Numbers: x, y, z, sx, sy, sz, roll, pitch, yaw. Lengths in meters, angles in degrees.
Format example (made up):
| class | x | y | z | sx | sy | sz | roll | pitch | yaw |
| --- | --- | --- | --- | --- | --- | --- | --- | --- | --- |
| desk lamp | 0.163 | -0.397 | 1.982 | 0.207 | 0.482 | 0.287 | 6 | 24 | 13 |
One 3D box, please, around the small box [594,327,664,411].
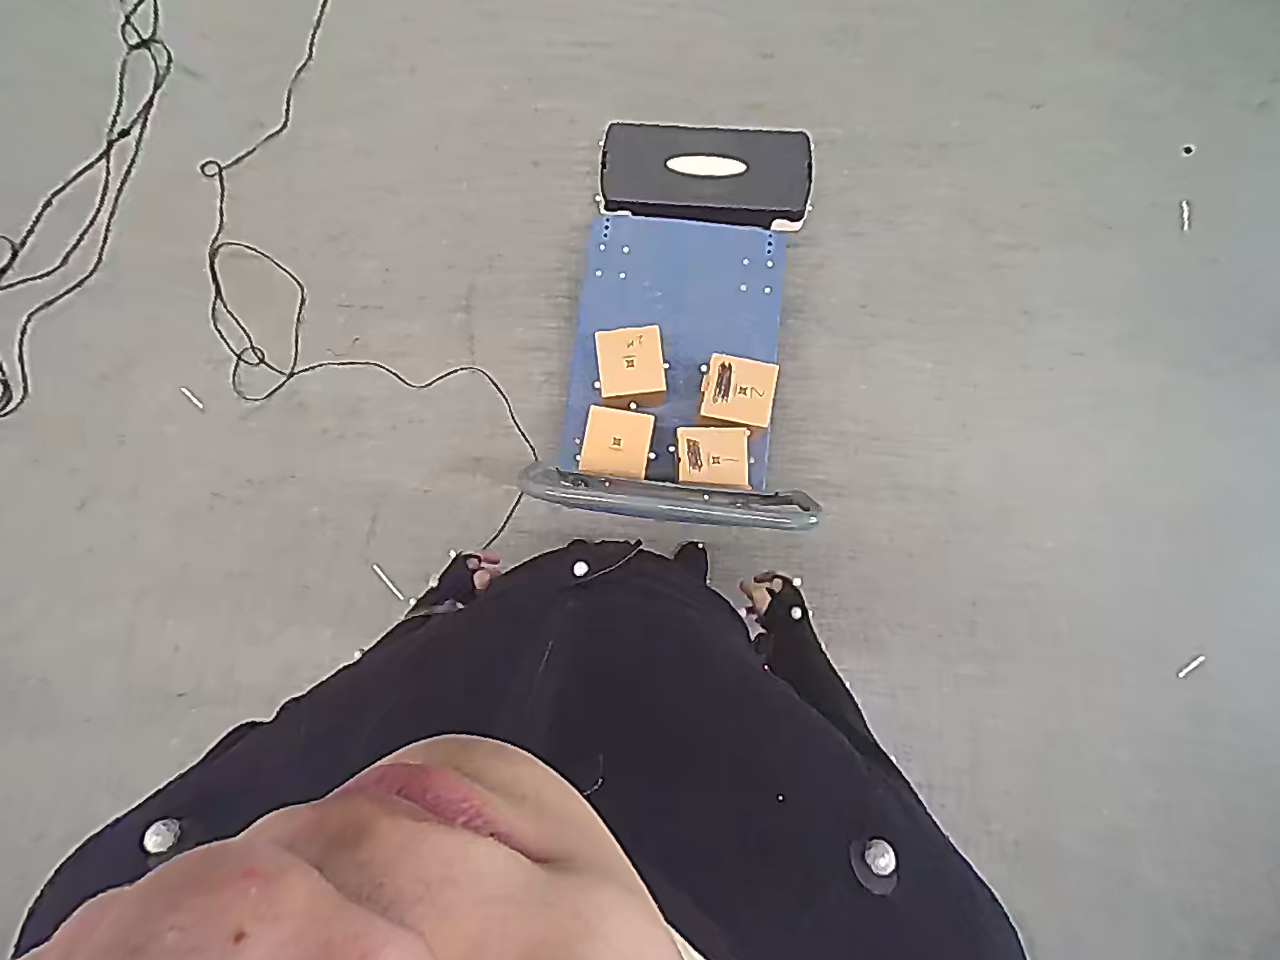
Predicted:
| class | x | y | z | sx | sy | sz | roll | pitch | yaw |
| --- | --- | --- | --- | --- | --- | --- | --- | --- | --- |
| small box | -0.027 | -0.287 | 1.442 | 0.168 | 0.176 | 0.179 | -6 | 84 | -1 |
